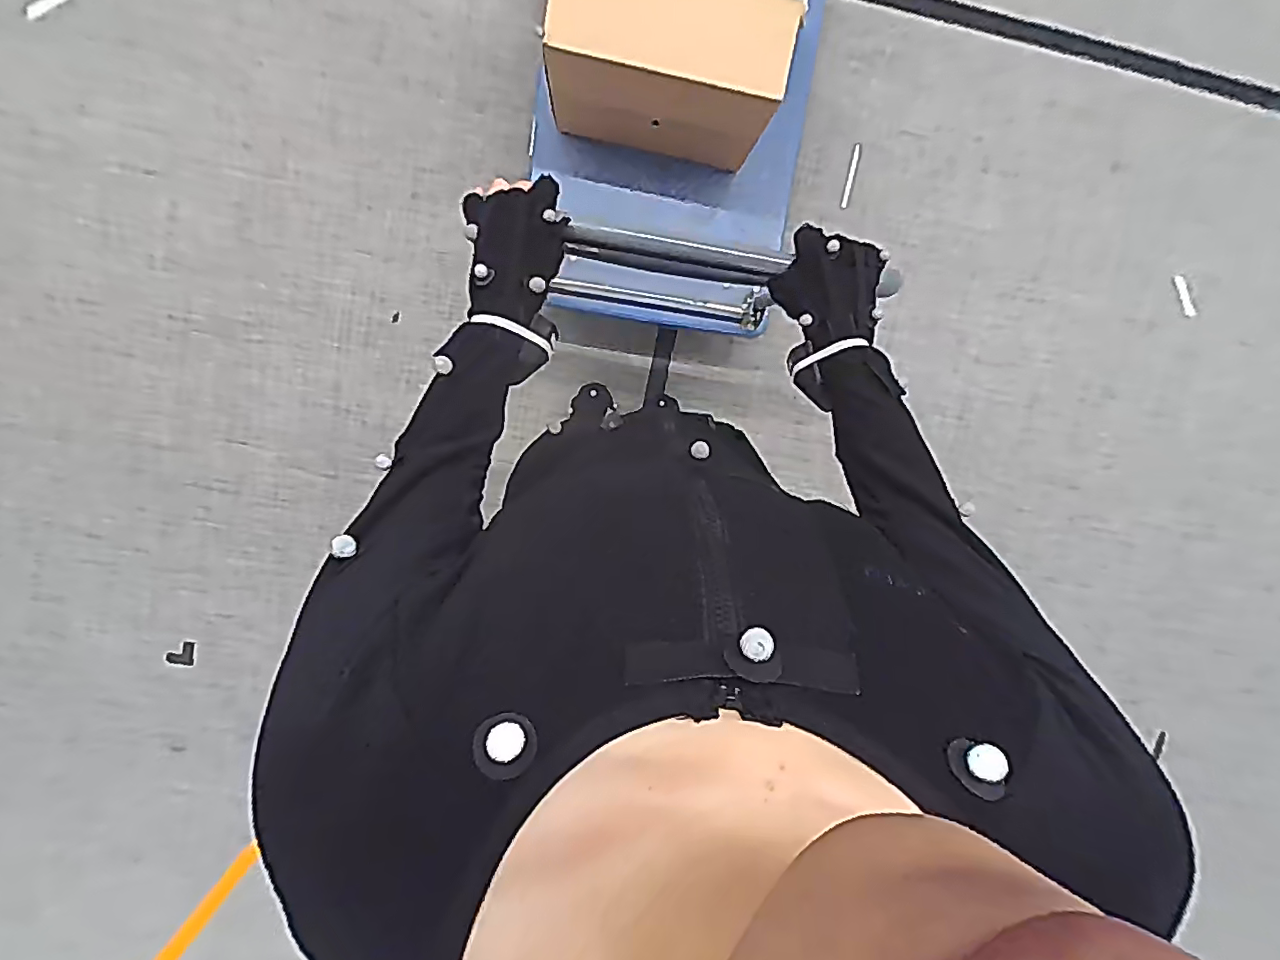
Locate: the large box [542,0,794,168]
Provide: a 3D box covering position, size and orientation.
[{"bbox_3d":[0.052,-0.839,1.018,0.408,0.320,0.320,9,99,-5],"label":"large box"}]
